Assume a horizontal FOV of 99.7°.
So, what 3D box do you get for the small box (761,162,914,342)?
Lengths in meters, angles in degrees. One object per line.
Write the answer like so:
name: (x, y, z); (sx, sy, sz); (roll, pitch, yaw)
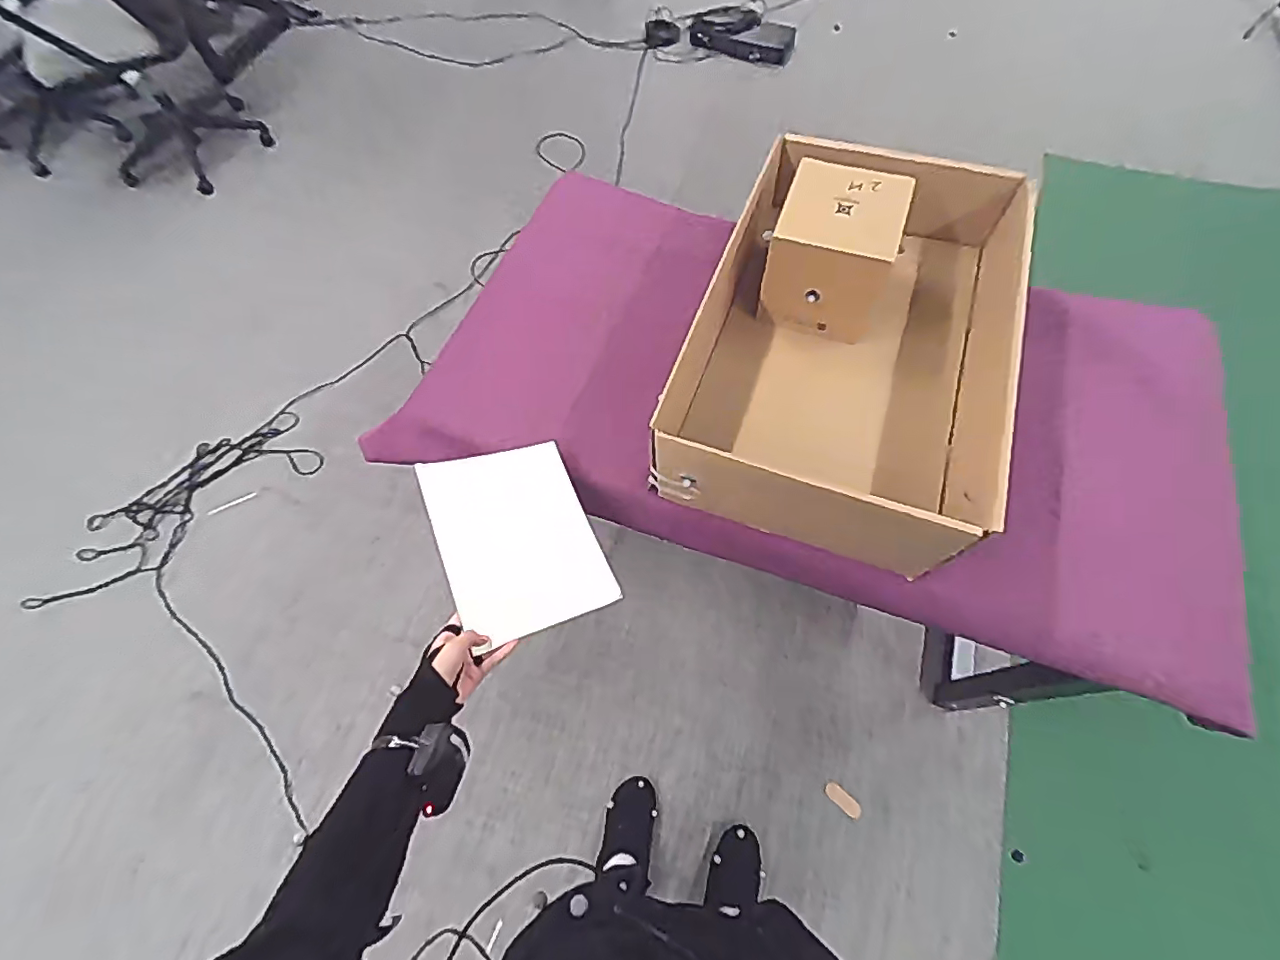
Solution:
small box: (0.291, -0.342, 0.828); (0.168, 0.176, 0.179); (18, 67, 12)
